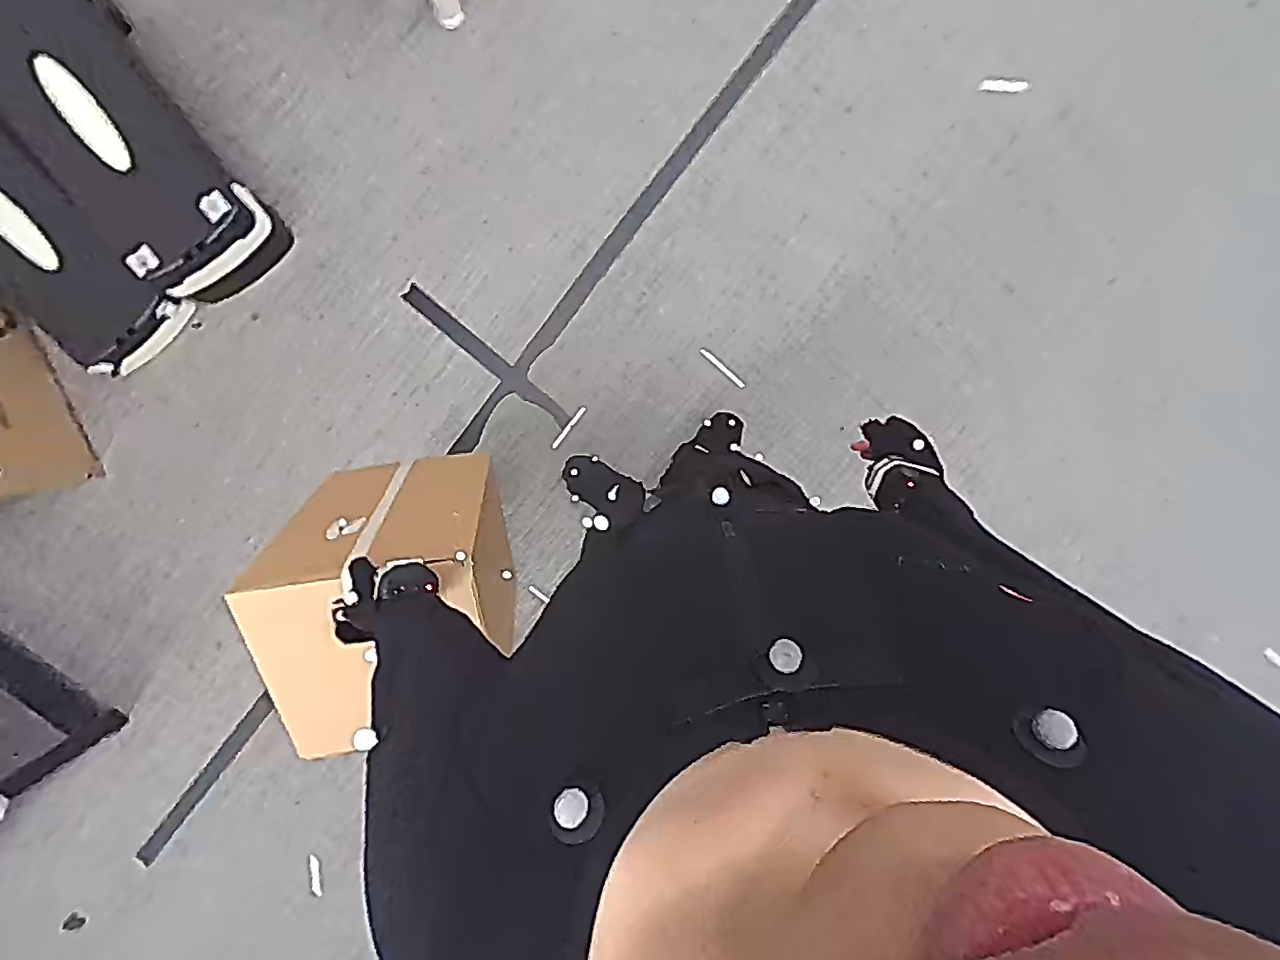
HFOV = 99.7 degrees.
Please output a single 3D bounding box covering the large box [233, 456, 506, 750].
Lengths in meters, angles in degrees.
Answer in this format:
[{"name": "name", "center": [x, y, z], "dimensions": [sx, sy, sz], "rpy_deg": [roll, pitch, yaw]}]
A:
[{"name": "large box", "center": [-0.414, 0.183, 0.959], "dimensions": [0.320, 0.408, 0.320], "rpy_deg": [-7, 116, -8]}]
